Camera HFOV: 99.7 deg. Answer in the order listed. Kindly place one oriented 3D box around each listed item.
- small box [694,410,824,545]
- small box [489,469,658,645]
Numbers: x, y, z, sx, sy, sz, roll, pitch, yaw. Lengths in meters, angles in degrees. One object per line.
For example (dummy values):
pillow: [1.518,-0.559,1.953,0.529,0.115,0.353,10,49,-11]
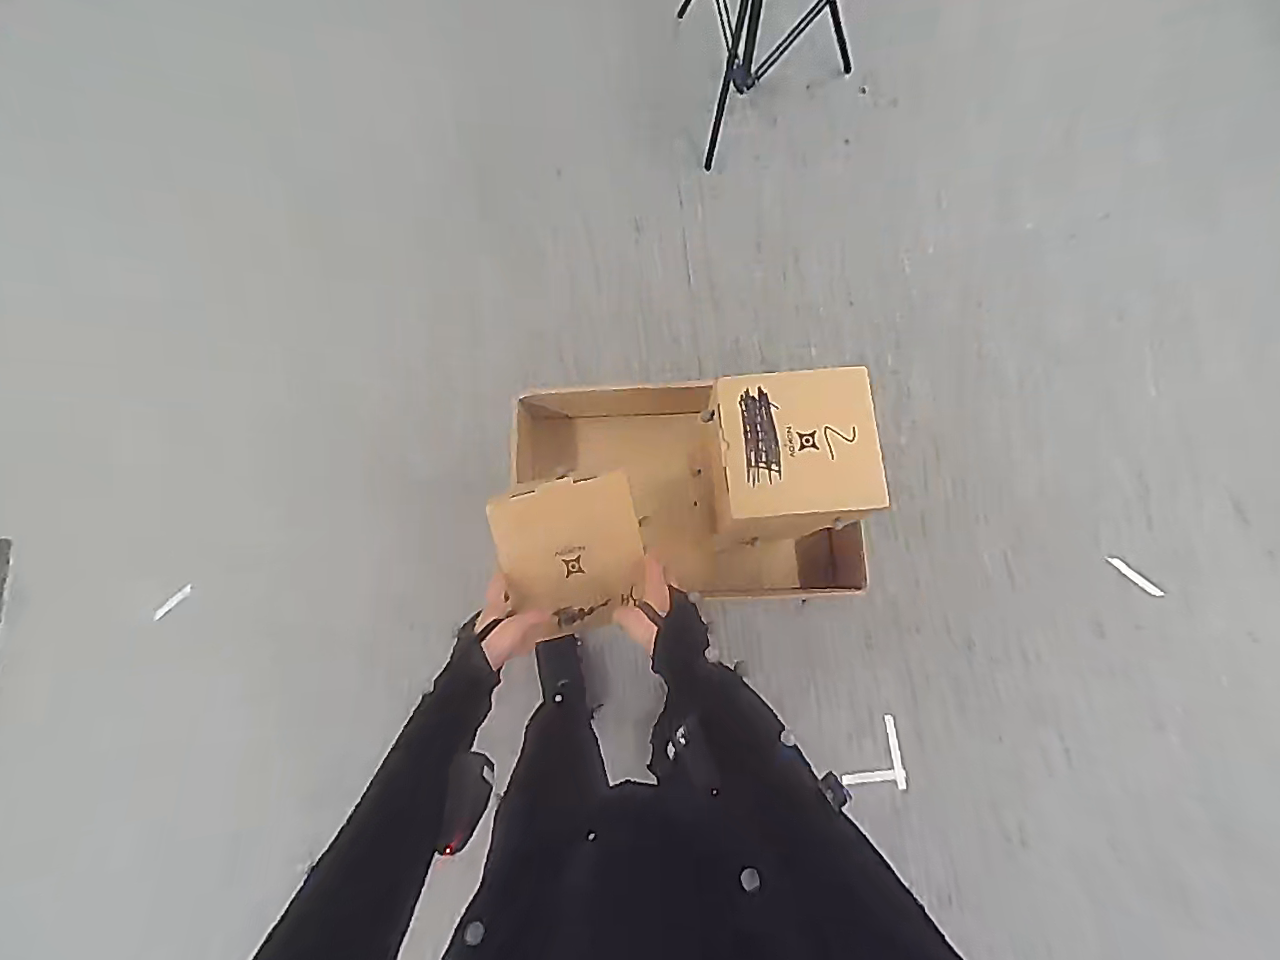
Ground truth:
small box: [0.174,0.004,0.844,0.168,0.176,0.179,-4,79,3]
small box: [-0.079,0.085,0.701,0.168,0.176,0.179,-13,96,0]
